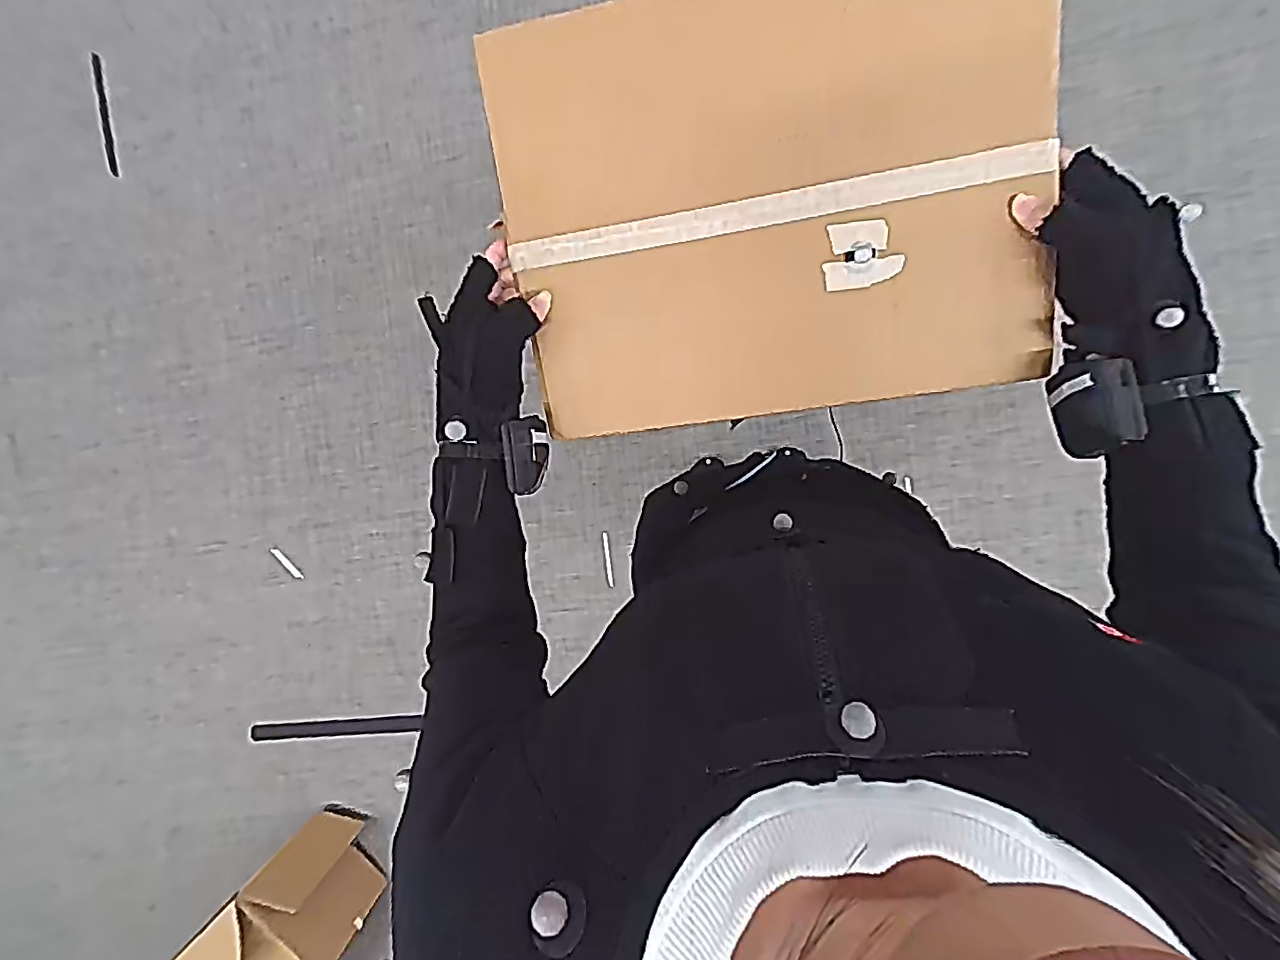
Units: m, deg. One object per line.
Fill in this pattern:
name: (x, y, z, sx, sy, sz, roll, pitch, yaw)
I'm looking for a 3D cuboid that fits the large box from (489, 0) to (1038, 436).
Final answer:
large box: (0.113, -0.249, 0.572, 0.408, 0.320, 0.320, -7, 105, 9)
